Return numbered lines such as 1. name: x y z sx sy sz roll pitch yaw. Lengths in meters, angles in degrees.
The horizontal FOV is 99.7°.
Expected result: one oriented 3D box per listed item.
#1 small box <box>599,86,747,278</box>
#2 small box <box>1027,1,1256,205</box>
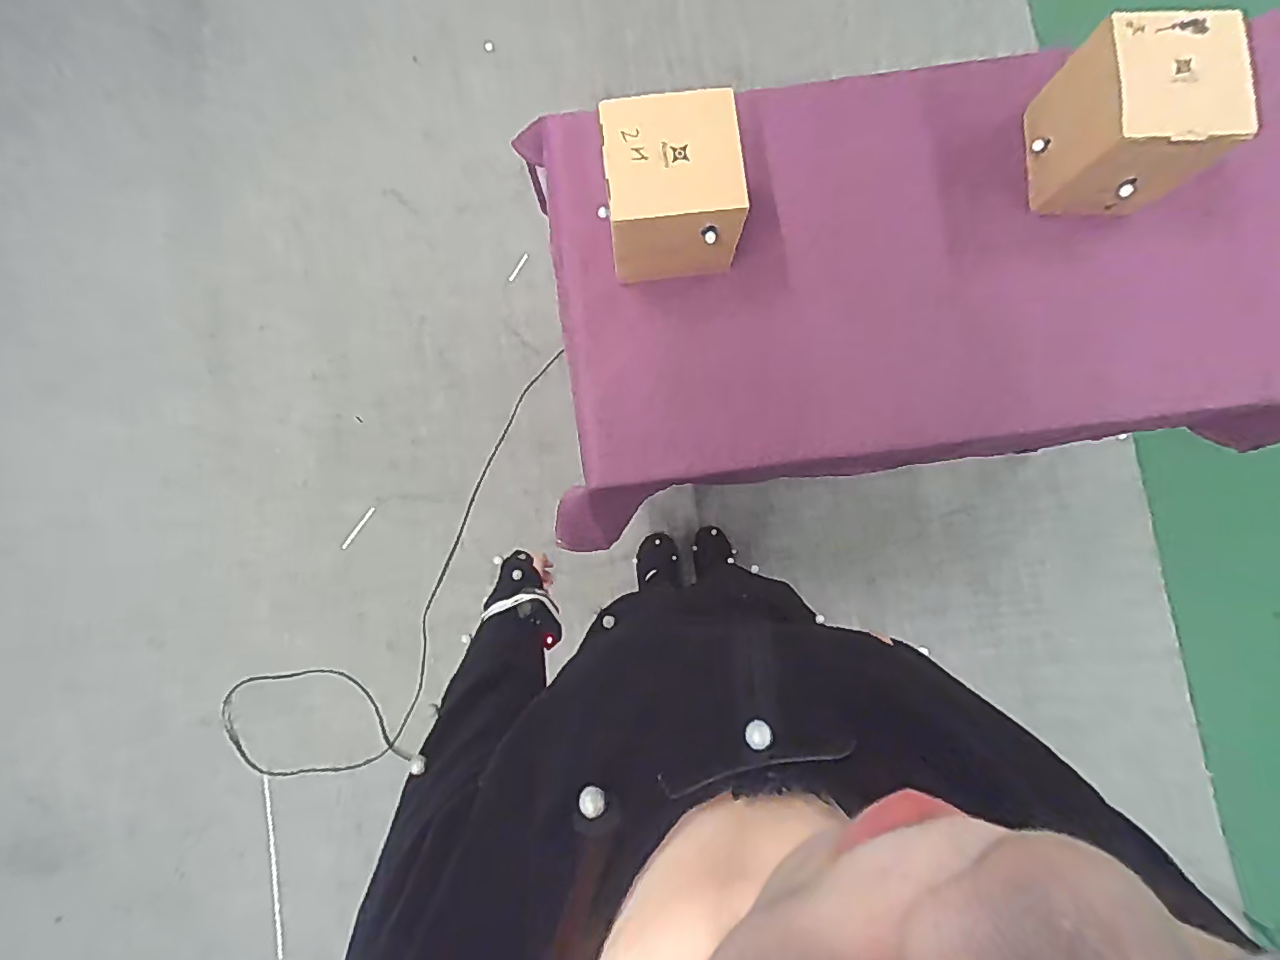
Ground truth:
1. small box: 0.041 -0.404 0.759 0.179 0.176 0.168 -6 84 1
2. small box: 0.677 -0.507 0.752 0.168 0.176 0.179 0 85 1
